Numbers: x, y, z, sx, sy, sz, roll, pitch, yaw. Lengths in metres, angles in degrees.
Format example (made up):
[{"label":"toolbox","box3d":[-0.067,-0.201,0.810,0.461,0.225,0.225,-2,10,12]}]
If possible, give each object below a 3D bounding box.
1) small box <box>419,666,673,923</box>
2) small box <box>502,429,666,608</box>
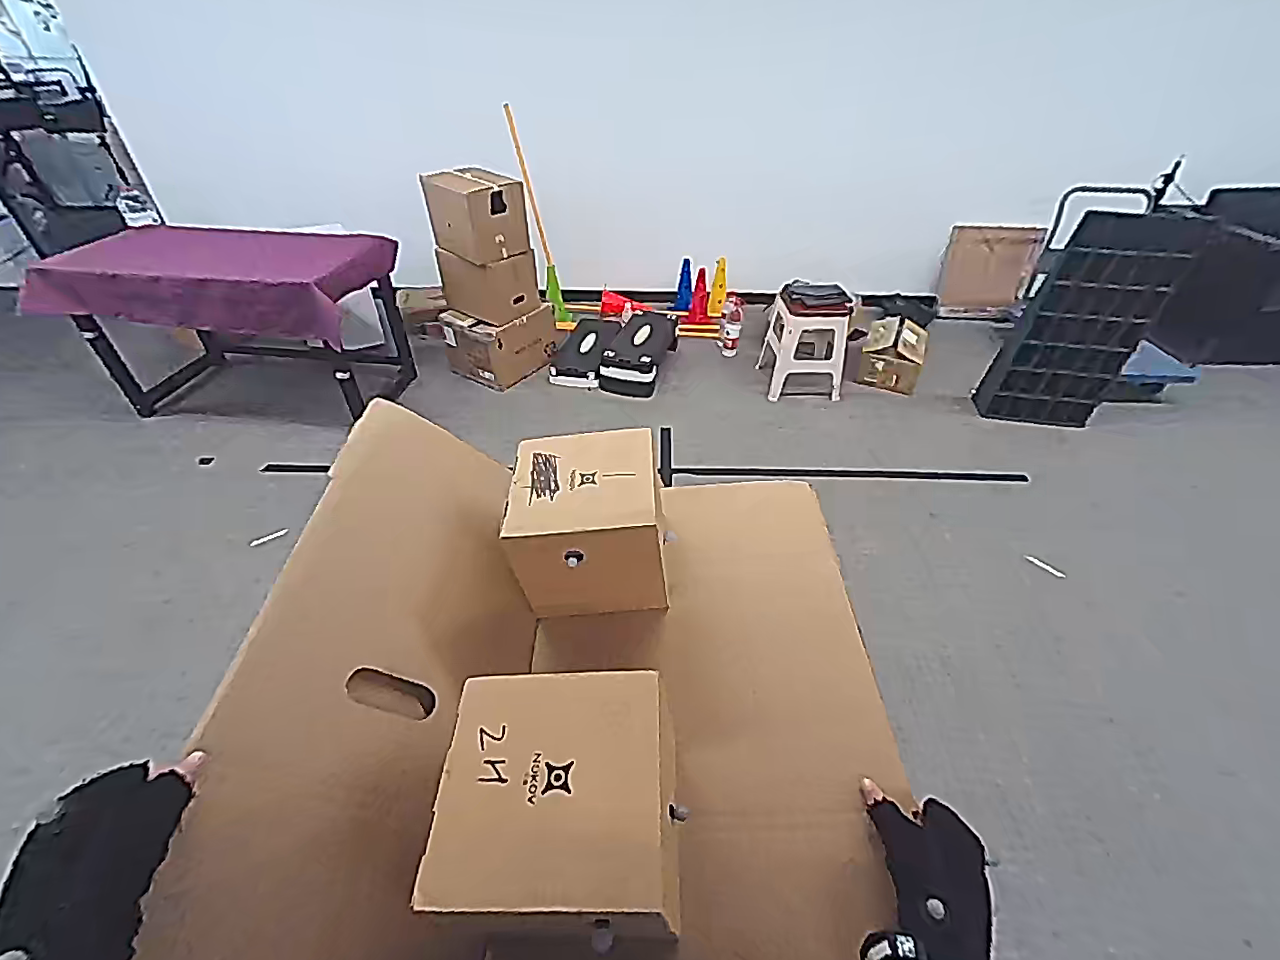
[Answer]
[{"label":"small box","box3d":[-0.061,0.283,0.488,0.179,0.176,0.168,-4,45,6]},{"label":"small box","box3d":[-0.062,0.055,0.713,0.179,0.176,0.168,-5,45,4]}]
